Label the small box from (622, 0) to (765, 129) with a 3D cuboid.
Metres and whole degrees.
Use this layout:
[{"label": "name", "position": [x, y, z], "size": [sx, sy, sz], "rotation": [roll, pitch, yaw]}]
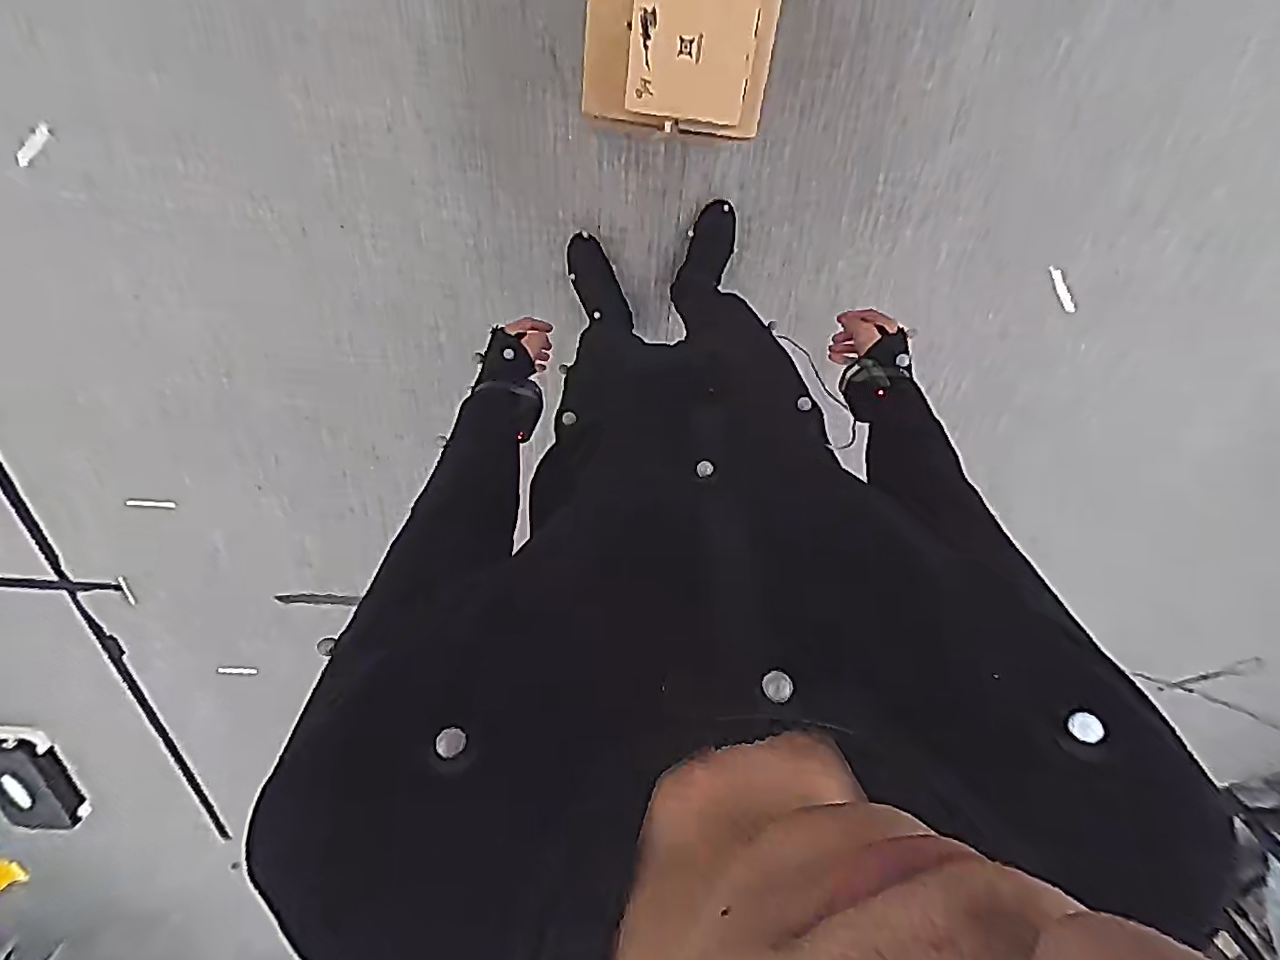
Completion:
[{"label": "small box", "position": [0.070, -0.643, 0.818], "size": [0.179, 0.176, 0.168], "rotation": [5, 122, -6]}]
